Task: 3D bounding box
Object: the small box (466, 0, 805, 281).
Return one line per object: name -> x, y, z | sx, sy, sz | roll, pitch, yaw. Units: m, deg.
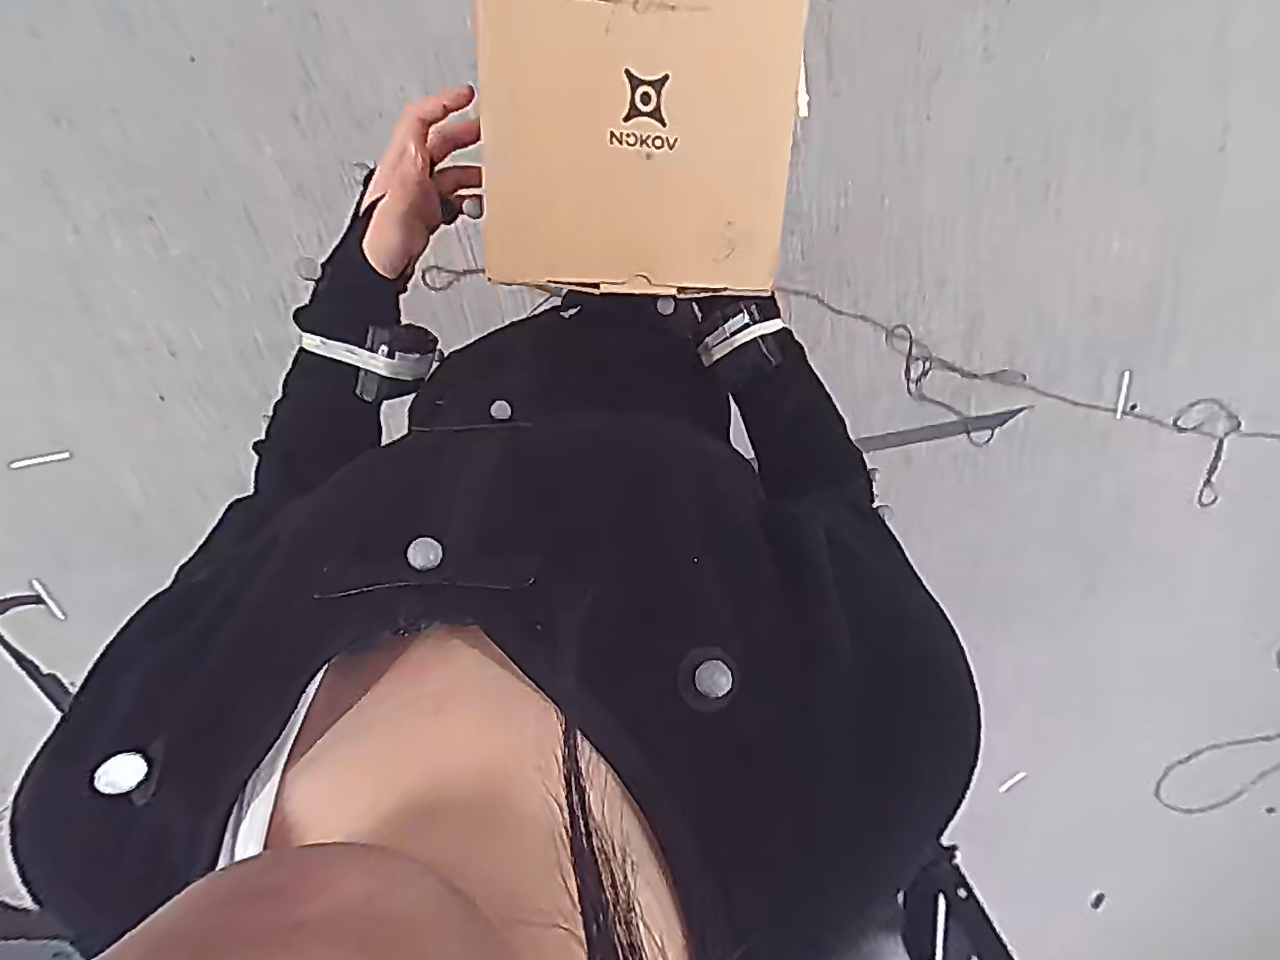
small box -> -0.016, -0.222, 0.342 | 0.168, 0.176, 0.179 | -3, 109, -12
